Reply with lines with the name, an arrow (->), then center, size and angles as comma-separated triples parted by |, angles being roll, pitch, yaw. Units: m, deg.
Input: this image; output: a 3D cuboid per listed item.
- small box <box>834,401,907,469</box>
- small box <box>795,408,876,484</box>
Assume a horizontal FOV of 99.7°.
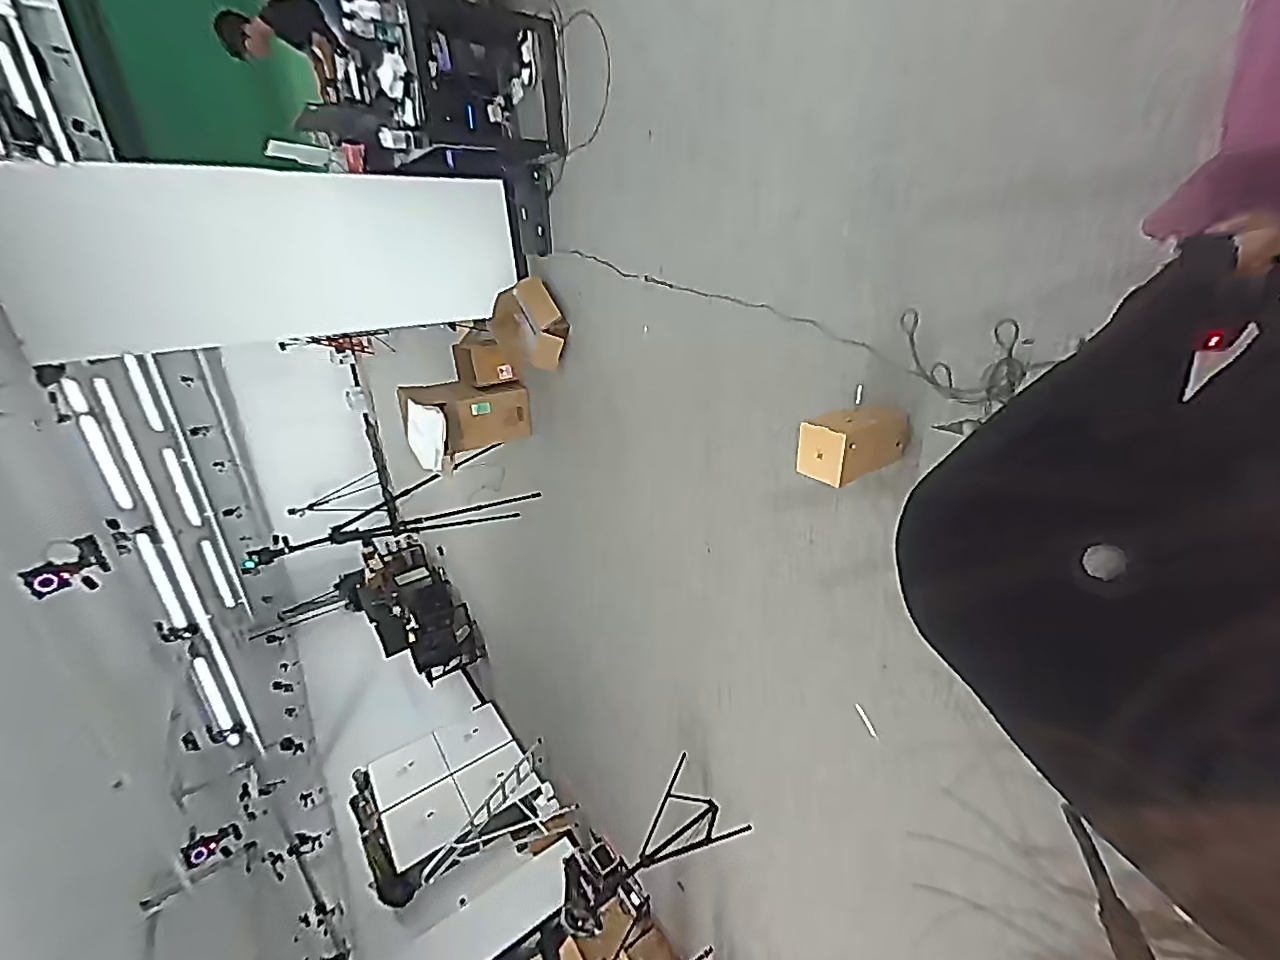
small box -> 0.744, -0.156, 1.781 | 0.179, 0.176, 0.168 | 27, 128, 48
small box -> 0.613, -0.112, 1.696 | 0.168, 0.176, 0.179 | 30, 130, 48
